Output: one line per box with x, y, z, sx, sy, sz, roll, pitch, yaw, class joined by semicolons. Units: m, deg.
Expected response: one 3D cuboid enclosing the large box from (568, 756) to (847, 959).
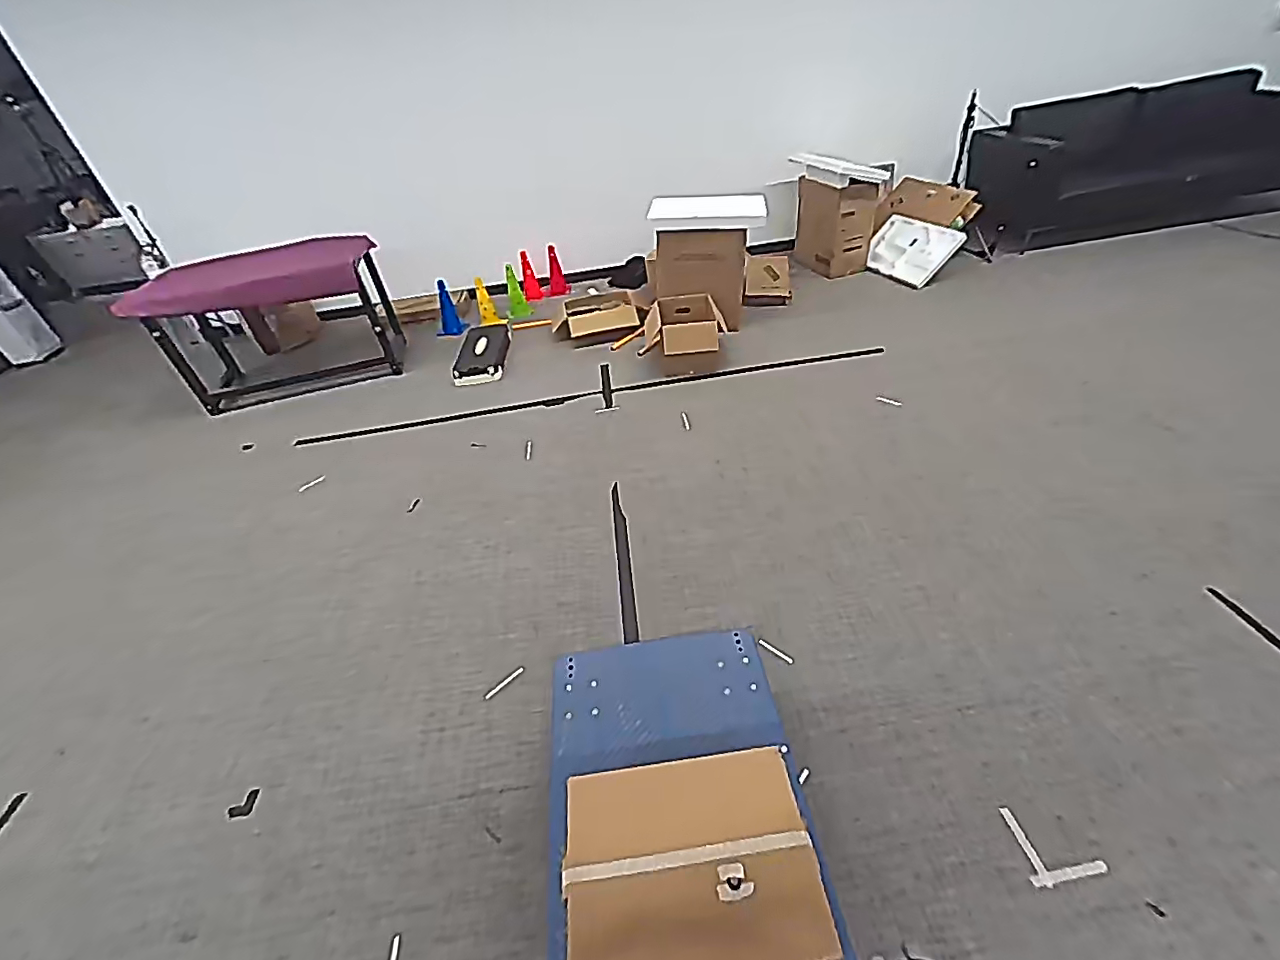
0.096;0.747;0.960;0.408;0.320;0.320;-8;39;-2;large box
